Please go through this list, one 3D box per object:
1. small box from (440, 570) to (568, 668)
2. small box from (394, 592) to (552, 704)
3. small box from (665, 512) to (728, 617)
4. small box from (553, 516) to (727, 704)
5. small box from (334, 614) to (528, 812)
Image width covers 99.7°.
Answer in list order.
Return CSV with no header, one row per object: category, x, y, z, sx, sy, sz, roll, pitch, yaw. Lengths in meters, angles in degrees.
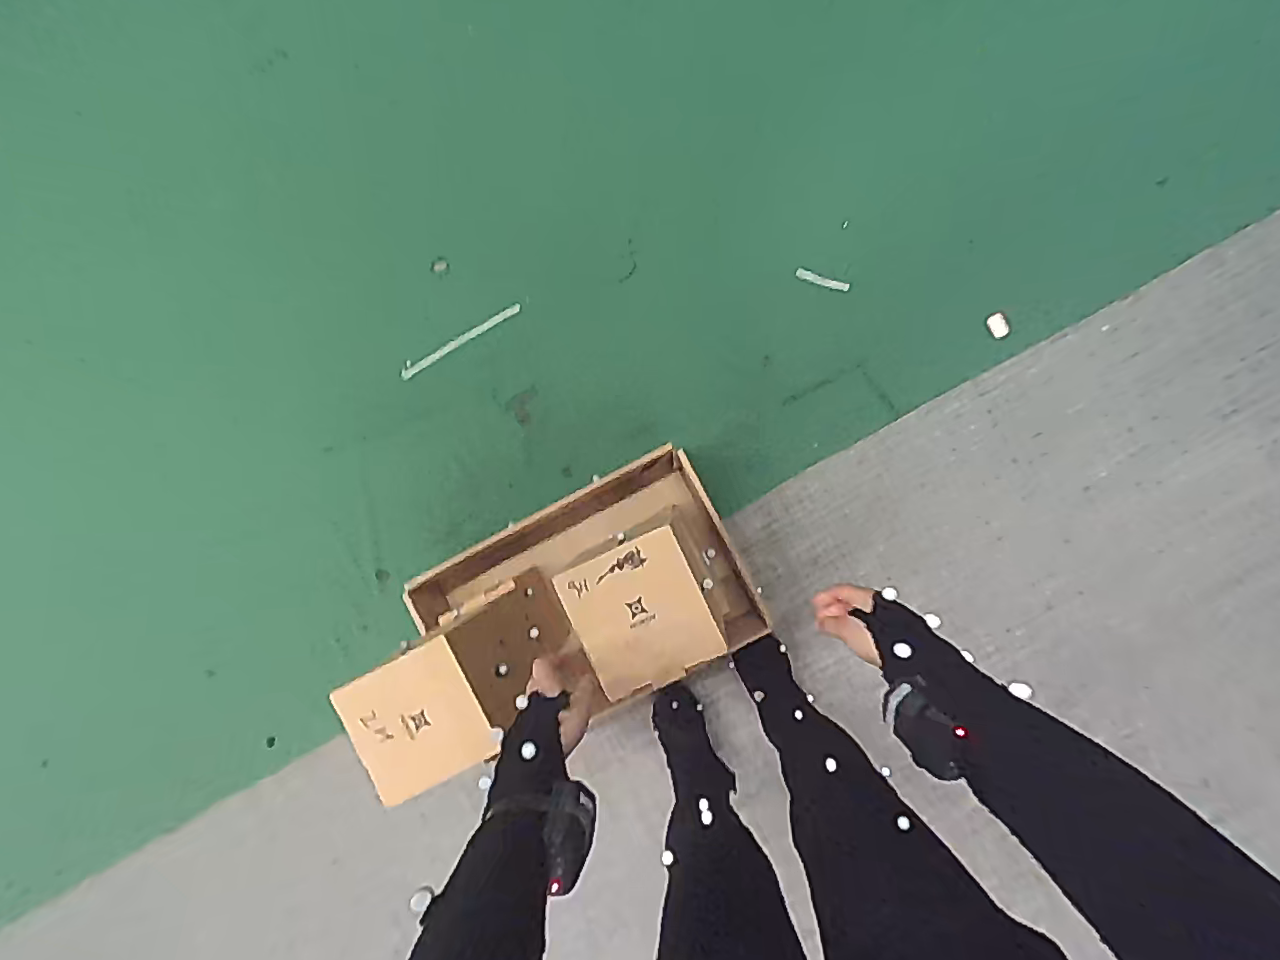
small box,-0.263,0.305,1.094,0.168,0.176,0.179,-29,89,3
small box,-0.275,0.315,0.931,0.179,0.176,0.168,-28,89,3
small box,0.029,0.168,0.907,0.179,0.176,0.168,-30,90,5
small box,0.007,0.165,0.744,0.168,0.176,0.179,-26,91,5
small box,-0.276,0.312,0.765,0.179,0.176,0.168,-29,88,4
